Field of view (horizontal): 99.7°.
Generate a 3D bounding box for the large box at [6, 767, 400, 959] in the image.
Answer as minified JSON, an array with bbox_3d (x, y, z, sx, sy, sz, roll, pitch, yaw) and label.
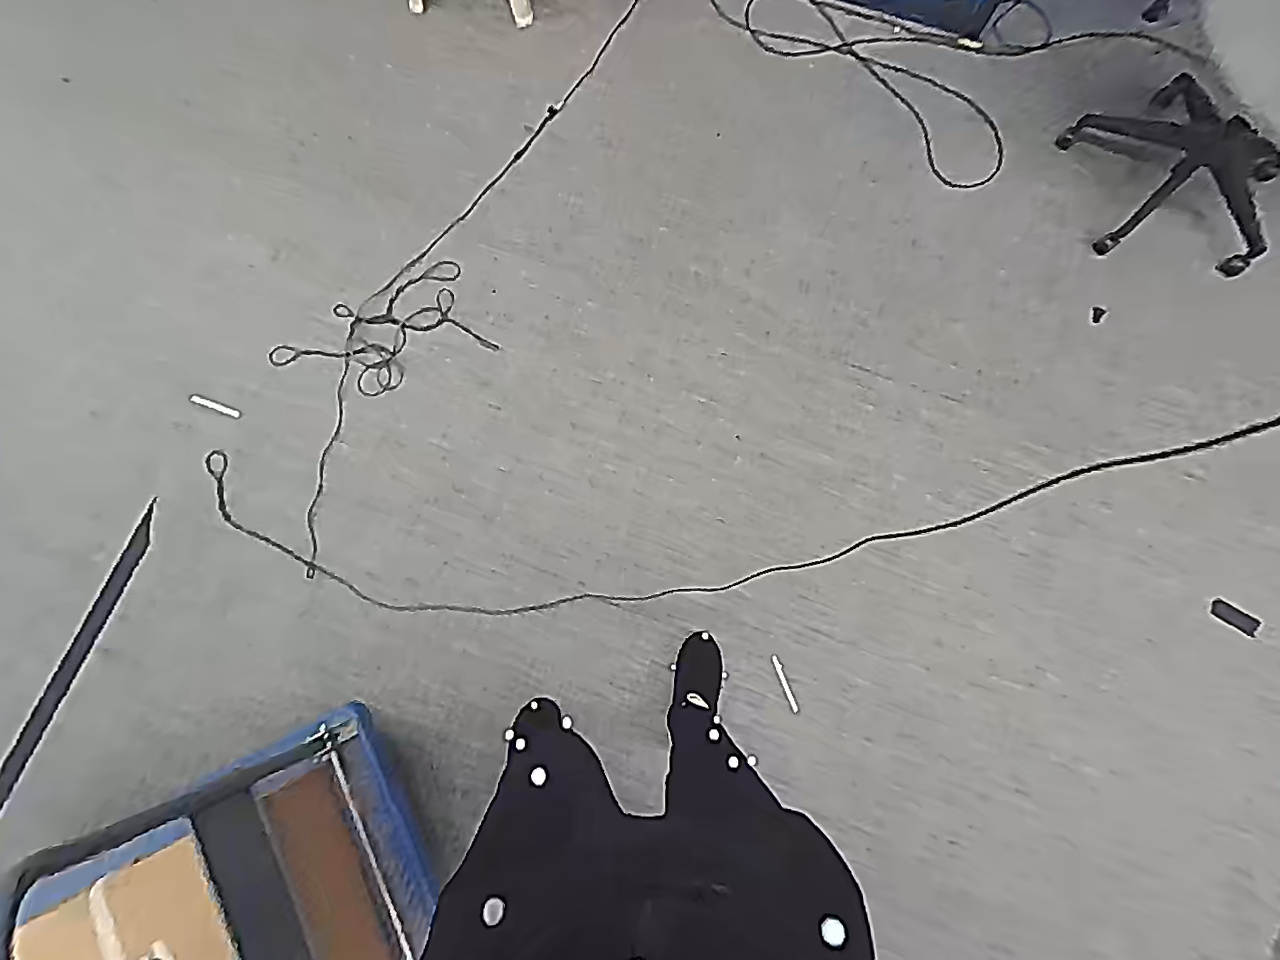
[{"bbox_3d":[-0.662,0.771,0.879,0.320,0.320,0.408,-27,79,-8],"label":"large box"}]
